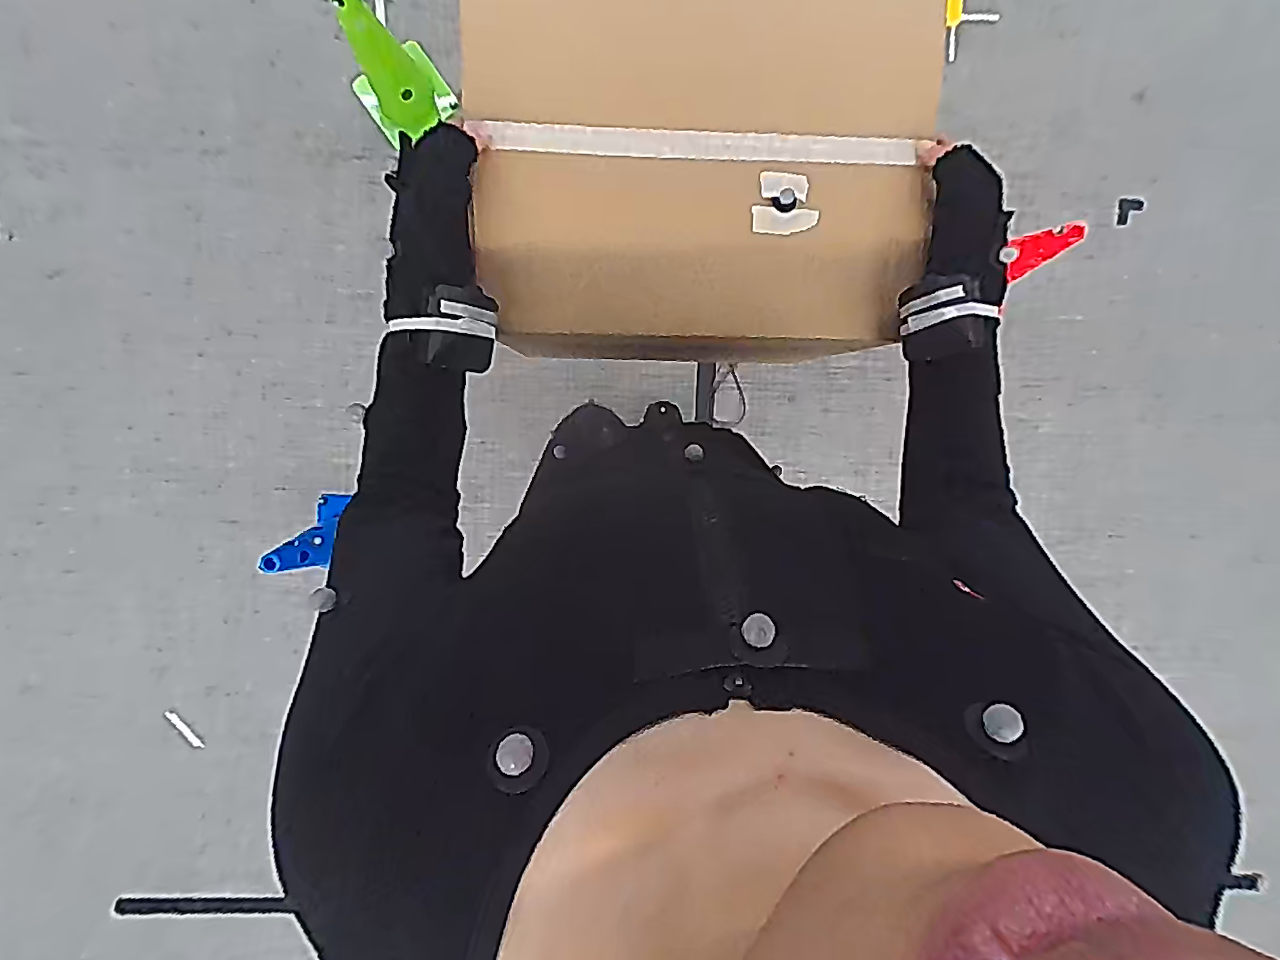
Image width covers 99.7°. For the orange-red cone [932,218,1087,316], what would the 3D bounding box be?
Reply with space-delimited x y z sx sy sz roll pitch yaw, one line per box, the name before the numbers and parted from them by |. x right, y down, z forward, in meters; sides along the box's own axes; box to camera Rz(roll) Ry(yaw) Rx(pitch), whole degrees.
orange-red cone | 0.886 -0.530 1.277 0.198 0.360 0.199 -2 93 -3

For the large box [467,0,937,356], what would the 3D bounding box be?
large box | 0.045 -0.312 0.612 0.408 0.320 0.320 -1 99 -5

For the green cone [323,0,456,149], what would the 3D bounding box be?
green cone | -0.590 -0.953 1.188 0.202 0.368 0.200 -36 94 3

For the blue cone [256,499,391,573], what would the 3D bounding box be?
blue cone | -0.765 0.160 1.295 0.192 0.380 0.193 4 94 -1
